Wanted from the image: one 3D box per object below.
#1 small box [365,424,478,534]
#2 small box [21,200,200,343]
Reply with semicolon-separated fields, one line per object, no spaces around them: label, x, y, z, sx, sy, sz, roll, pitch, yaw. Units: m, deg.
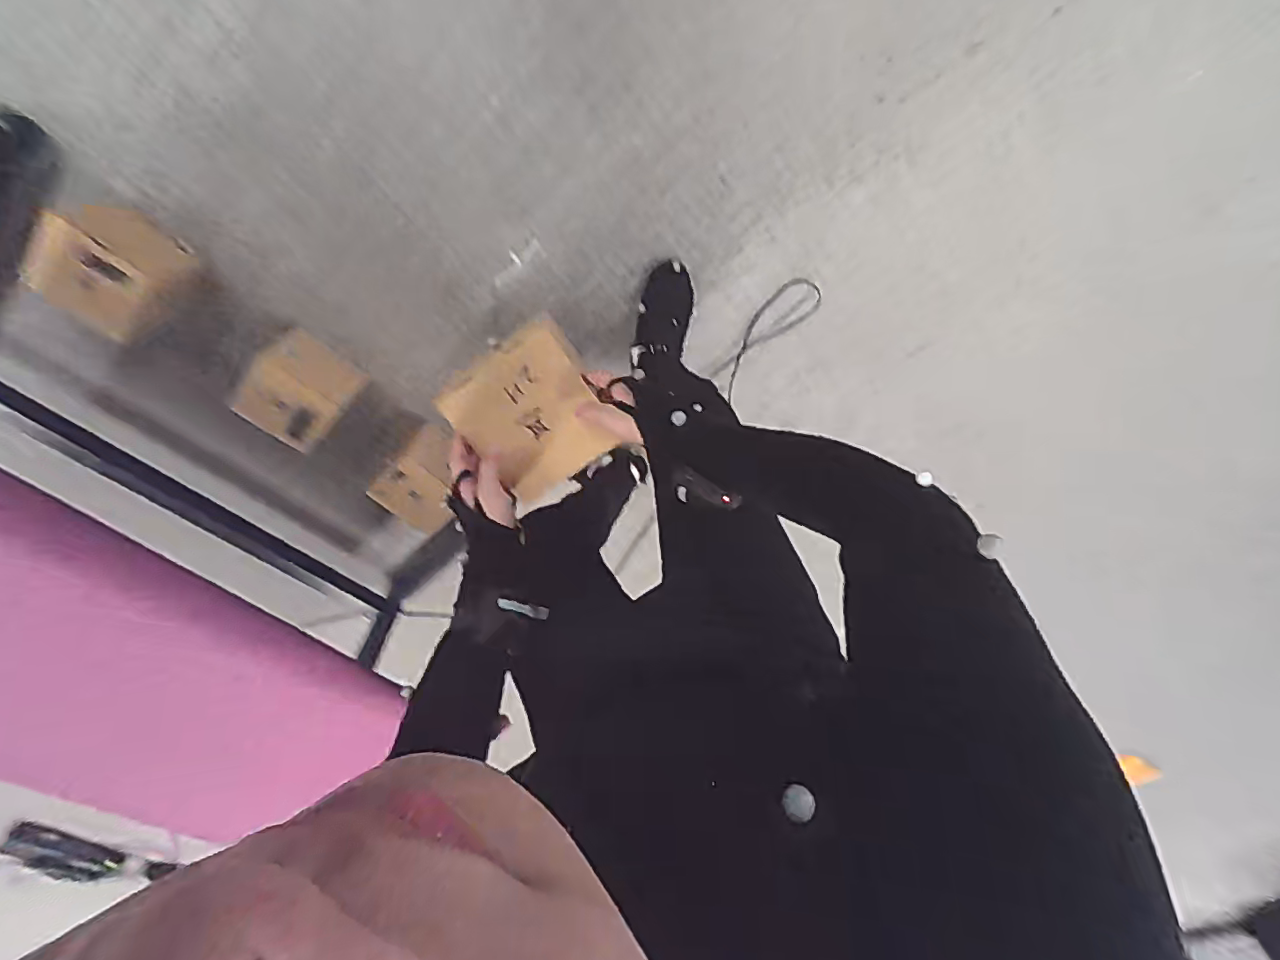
small box;-0.529;-0.006;1.339;0.168;0.176;0.179;-34;118;20
small box;-1.004;-0.406;1.043;0.168;0.176;0.179;39;116;-24
